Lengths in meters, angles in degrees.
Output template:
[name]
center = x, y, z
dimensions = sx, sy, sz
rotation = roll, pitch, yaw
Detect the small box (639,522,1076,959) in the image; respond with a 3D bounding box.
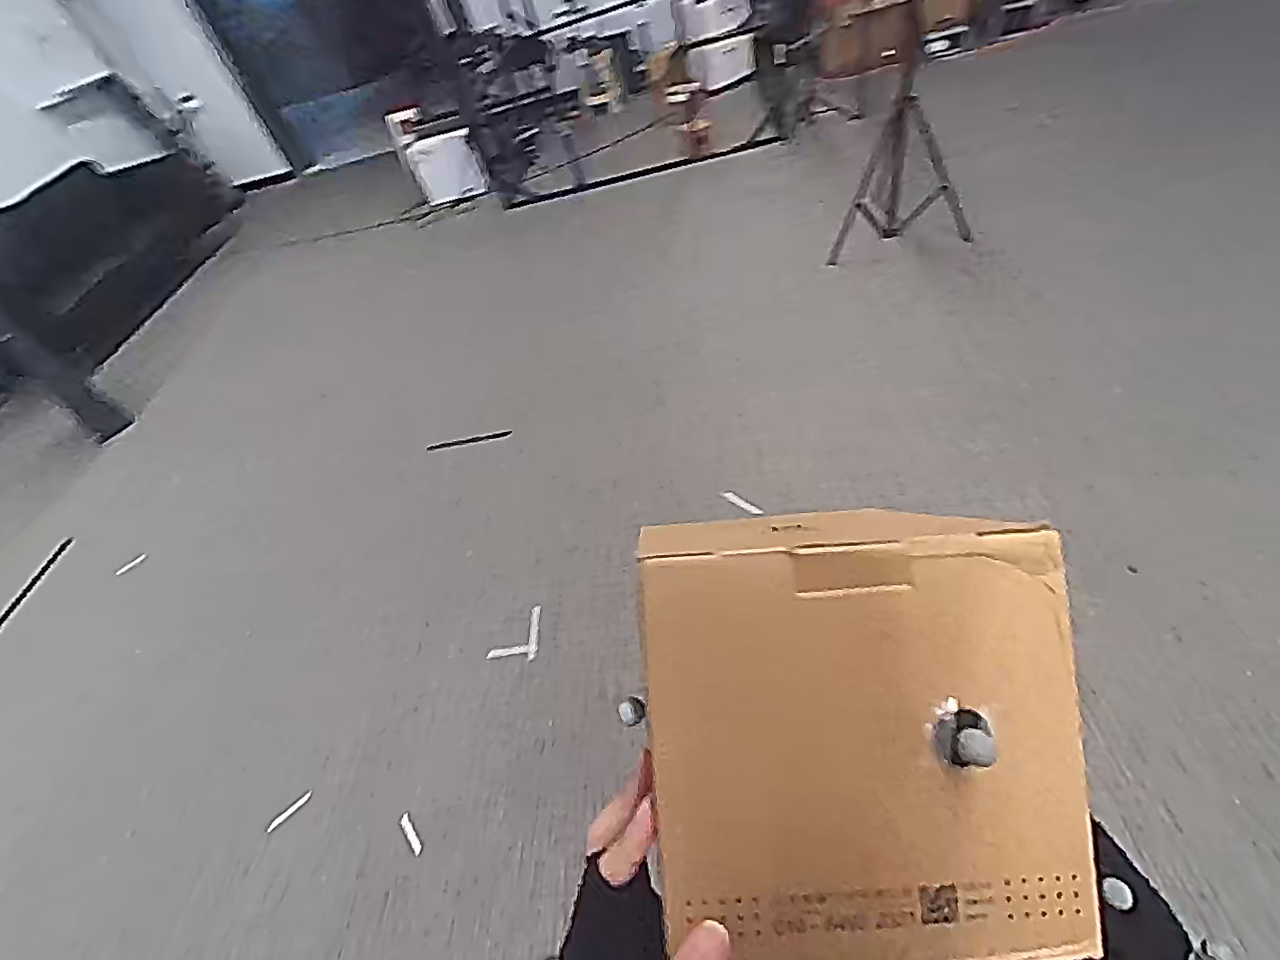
[small box]
center = 0.088, 0.119, 0.292
dimensions = 0.168, 0.179, 0.176
rotation = -4, 88, -1
